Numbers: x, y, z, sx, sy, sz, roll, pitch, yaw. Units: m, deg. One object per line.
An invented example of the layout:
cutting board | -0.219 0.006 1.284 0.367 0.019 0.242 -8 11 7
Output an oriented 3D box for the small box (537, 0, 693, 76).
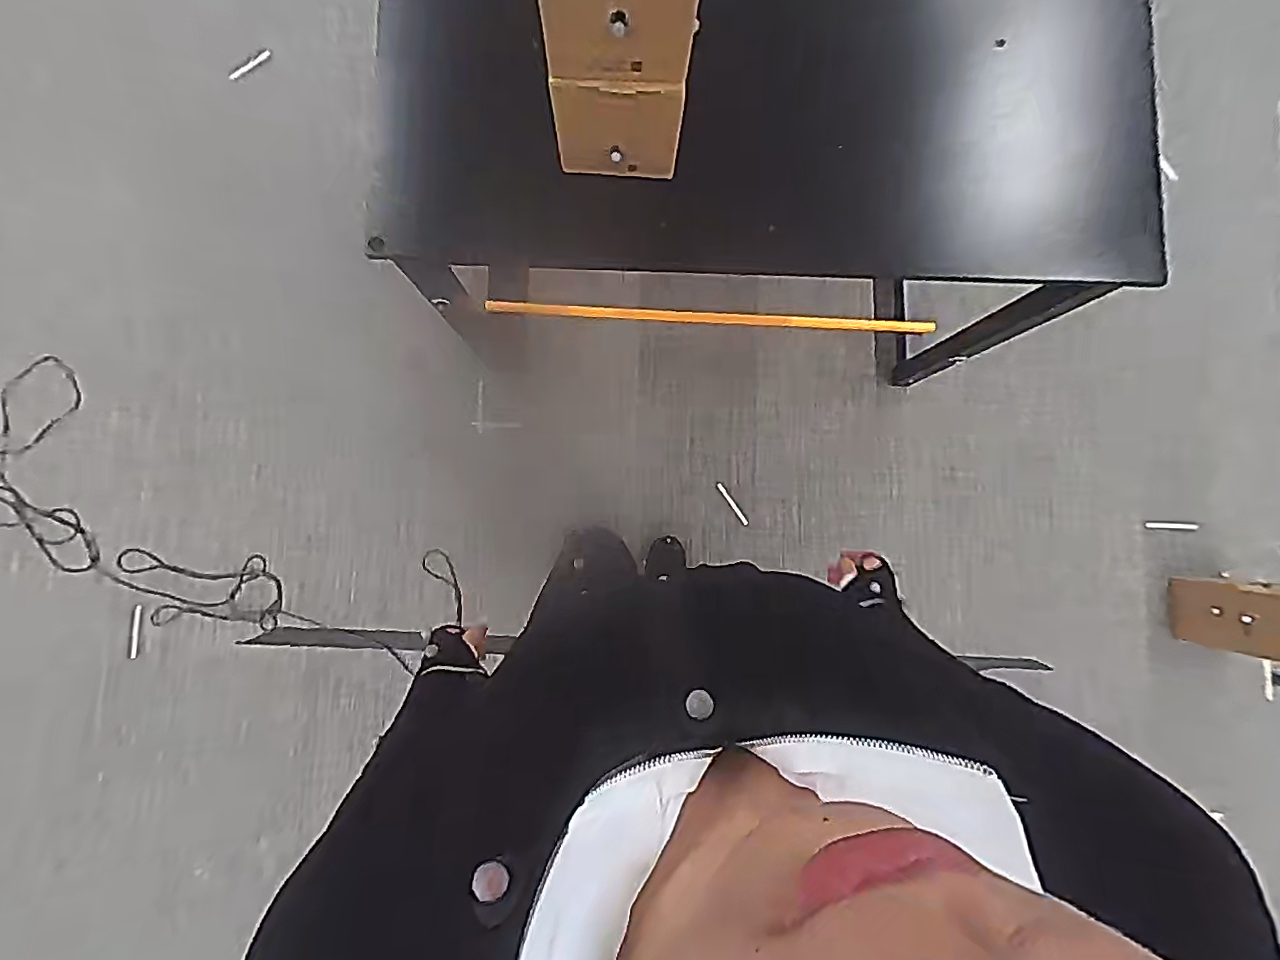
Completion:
small box | -0.025 -0.571 0.573 0.168 0.176 0.179 0 86 -2

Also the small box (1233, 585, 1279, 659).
small box | 1.595 0.342 1.288 0.179 0.176 0.168 -2 85 0

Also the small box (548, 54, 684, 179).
small box | -0.028 -0.550 0.736 0.168 0.176 0.179 3 86 -1

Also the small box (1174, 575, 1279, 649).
small box | 1.594 0.349 1.451 0.168 0.176 0.179 0 87 -1
